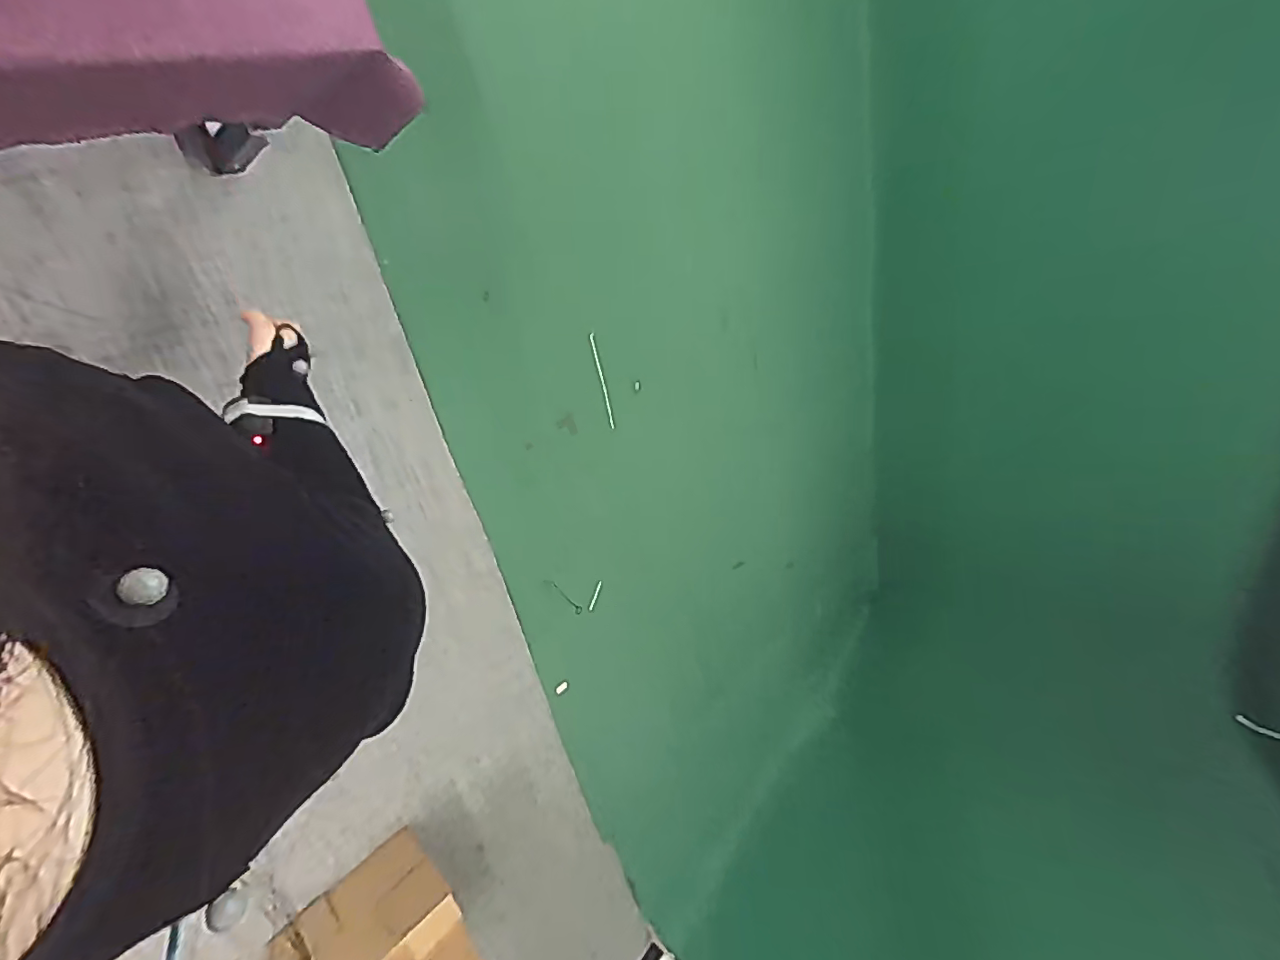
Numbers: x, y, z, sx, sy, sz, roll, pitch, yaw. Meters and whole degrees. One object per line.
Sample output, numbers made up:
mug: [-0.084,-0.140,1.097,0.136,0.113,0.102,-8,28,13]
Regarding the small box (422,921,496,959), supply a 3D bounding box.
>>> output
small box: [-0.488,1.363,1.471,0.168,0.176,0.179,-30,122,-39]
